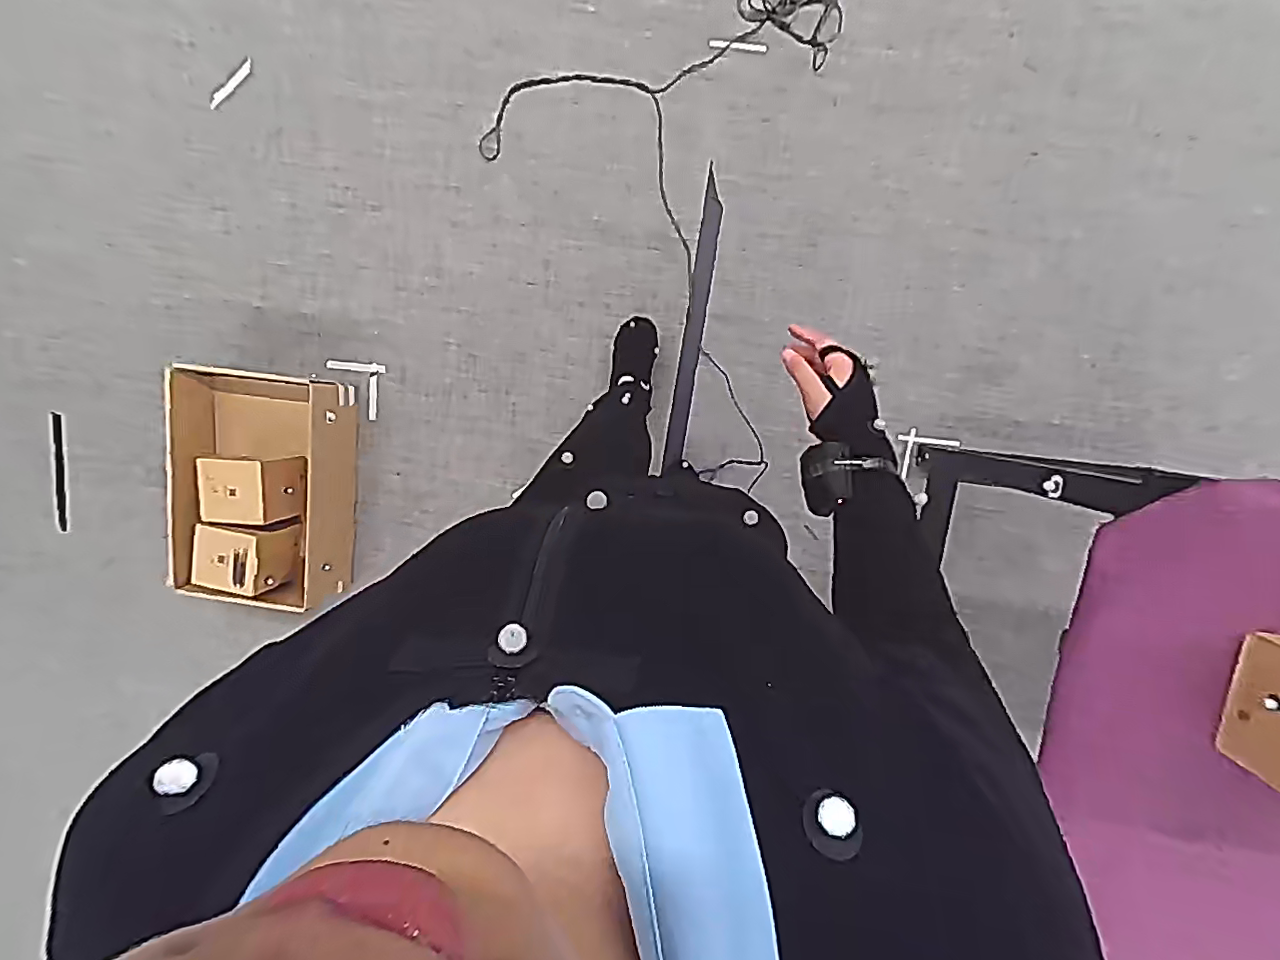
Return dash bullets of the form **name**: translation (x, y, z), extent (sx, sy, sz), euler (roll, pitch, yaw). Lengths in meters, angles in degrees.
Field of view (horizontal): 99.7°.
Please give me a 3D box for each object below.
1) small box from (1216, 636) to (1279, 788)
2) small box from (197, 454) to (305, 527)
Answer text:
- **small box**: translation (0.848, 0.295, 0.619), extent (0.179, 0.176, 0.168), euler (5, 100, 5)
- **small box**: translation (-1.031, 0.022, 1.450), extent (0.179, 0.176, 0.168), euler (4, 98, 5)
